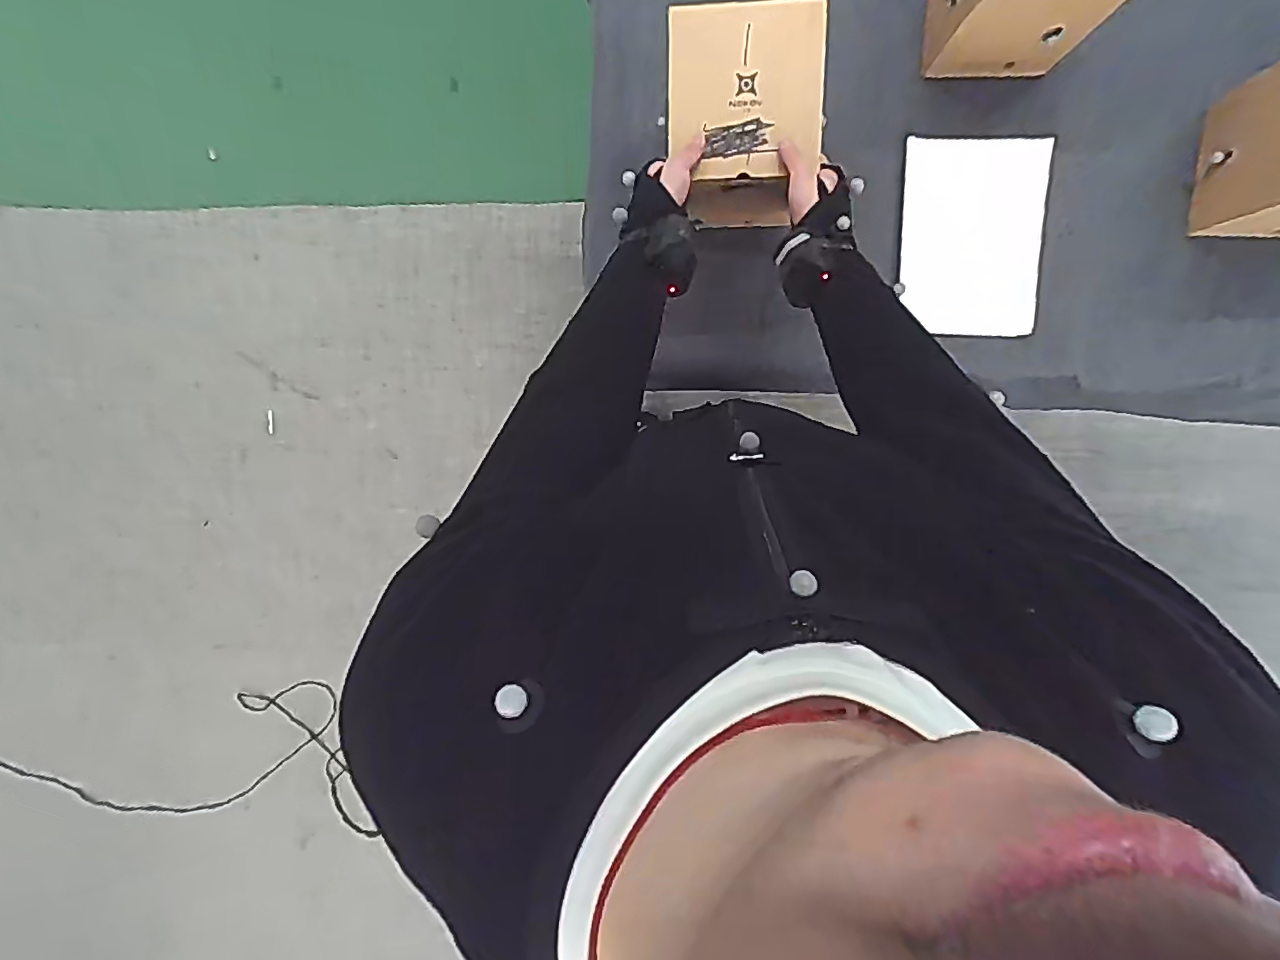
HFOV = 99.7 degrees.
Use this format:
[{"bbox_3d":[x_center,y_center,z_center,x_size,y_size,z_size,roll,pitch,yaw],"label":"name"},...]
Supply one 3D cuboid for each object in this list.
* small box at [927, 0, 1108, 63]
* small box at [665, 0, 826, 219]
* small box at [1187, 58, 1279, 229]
[{"bbox_3d":[0.463,-0.630,0.637,0.168,0.176,0.179,0,98,2],"label":"small box"},{"bbox_3d":[0.117,-0.427,0.653,0.168,0.176,0.179,1,100,4],"label":"small box"},{"bbox_3d":[0.839,-0.419,0.662,0.168,0.176,0.179,2,100,3],"label":"small box"}]
